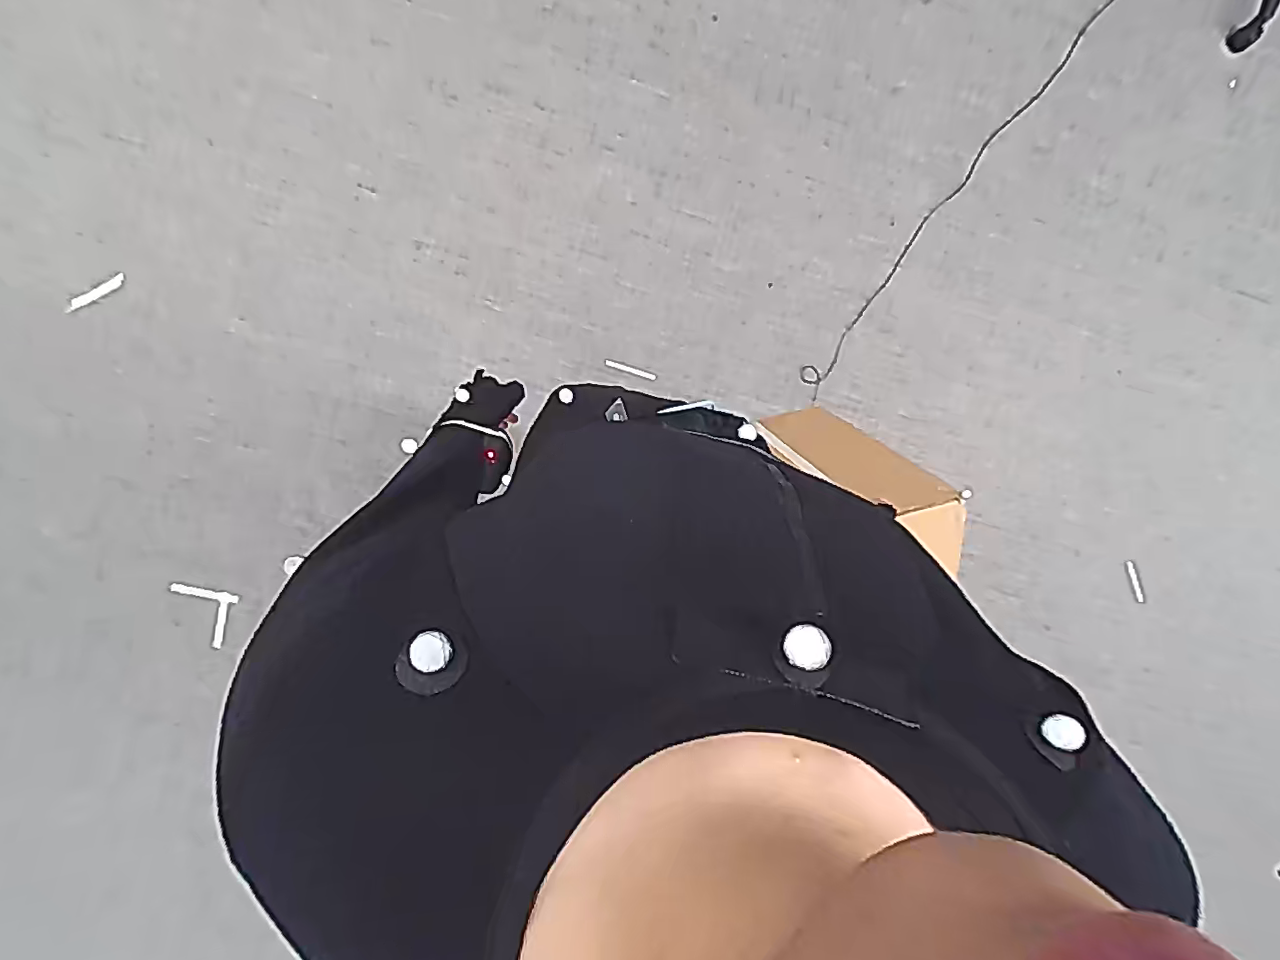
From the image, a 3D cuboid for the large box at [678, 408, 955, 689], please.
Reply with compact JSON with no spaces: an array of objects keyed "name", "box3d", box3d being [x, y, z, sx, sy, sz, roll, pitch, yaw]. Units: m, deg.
[{"name":"large box","box3d":[0.286,0.100,1.013,0.320,0.408,0.320,-14,121,-9]}]
